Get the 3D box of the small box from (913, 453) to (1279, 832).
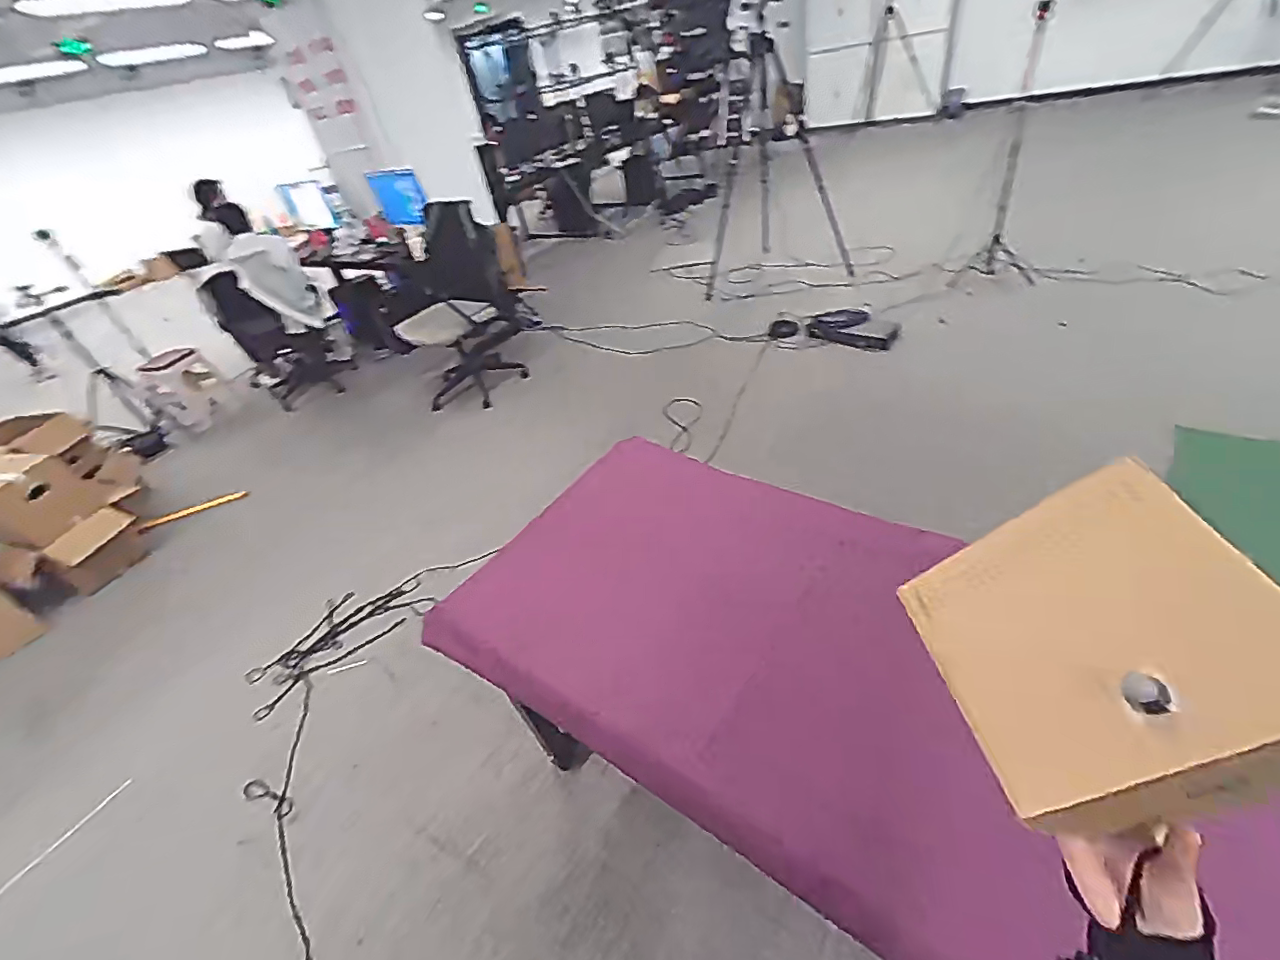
[{"bbox_3d":[0.322,0.116,0.370,0.179,0.168,0.176,-44,36,29],"label":"small box"}]
